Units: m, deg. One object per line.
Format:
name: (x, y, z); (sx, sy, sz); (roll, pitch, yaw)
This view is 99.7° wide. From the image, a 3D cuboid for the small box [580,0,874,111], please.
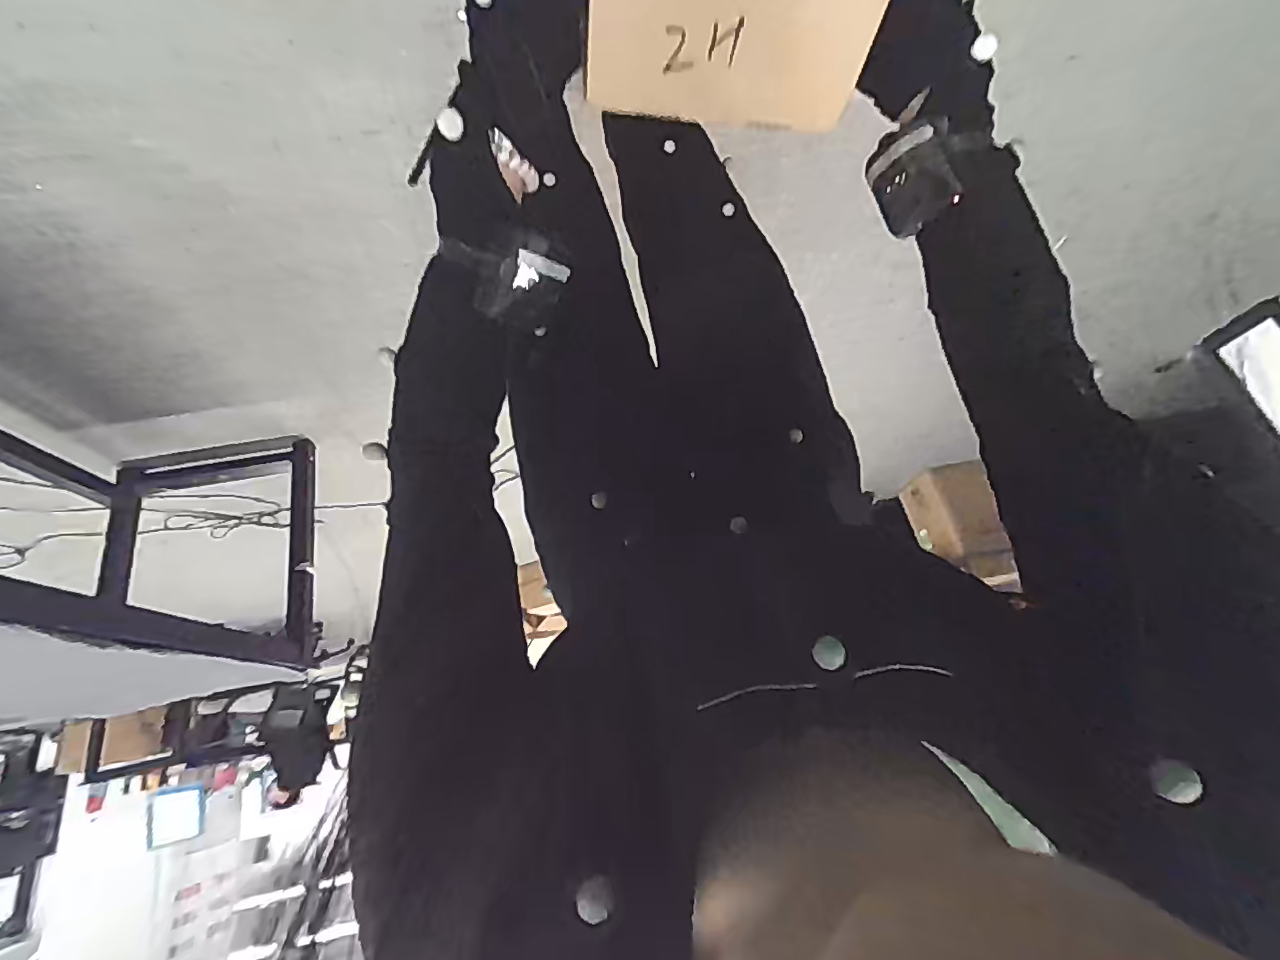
small box: (0.050, -0.355, 0.309); (0.168, 0.176, 0.179); (1, 148, -9)
